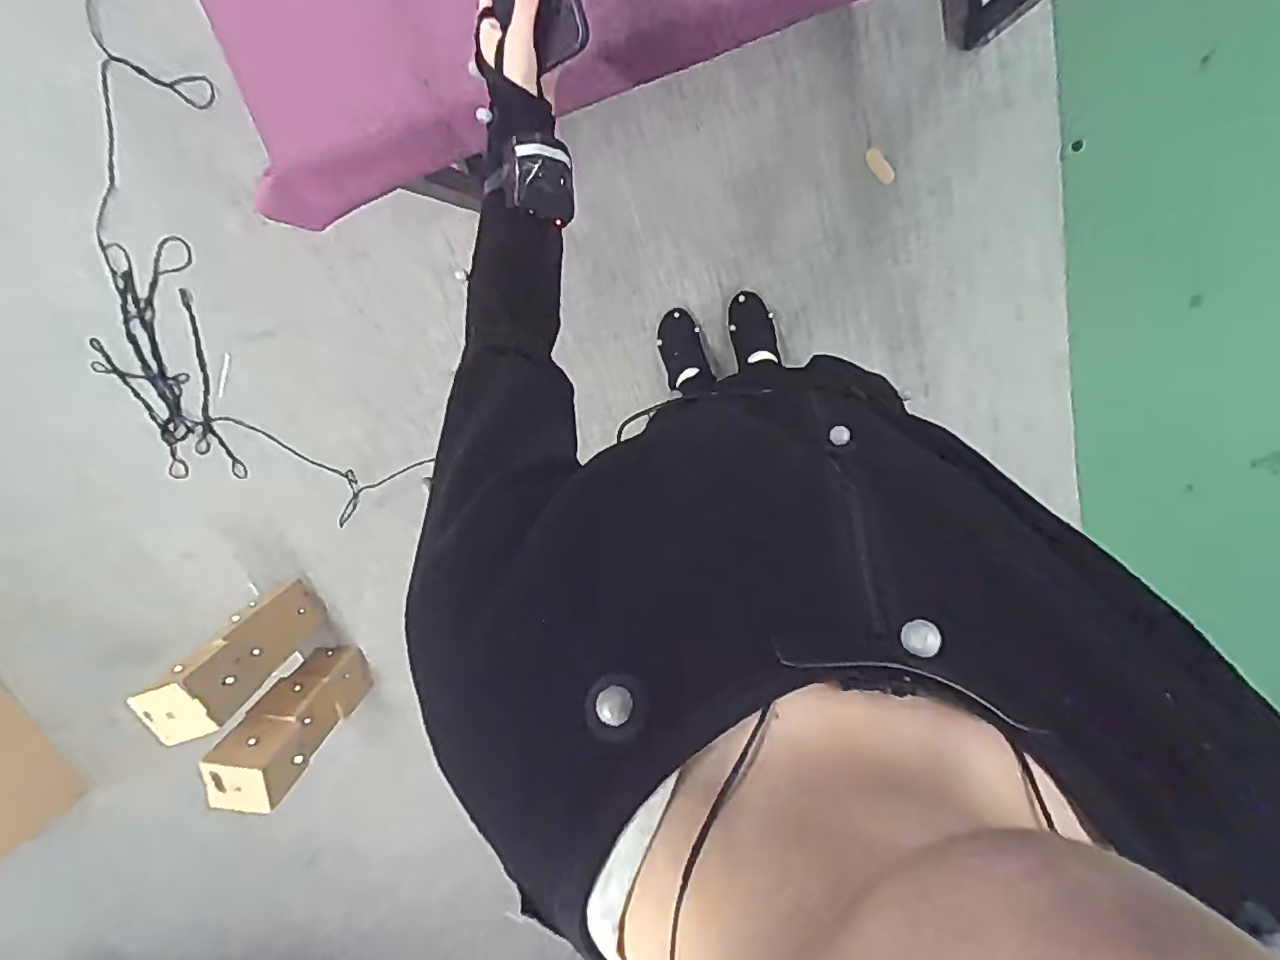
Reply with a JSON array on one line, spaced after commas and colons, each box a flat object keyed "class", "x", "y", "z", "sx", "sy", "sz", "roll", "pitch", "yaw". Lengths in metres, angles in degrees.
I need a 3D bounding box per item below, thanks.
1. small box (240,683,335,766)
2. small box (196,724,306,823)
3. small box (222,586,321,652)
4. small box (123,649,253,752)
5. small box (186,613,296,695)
[{"class": "small box", "x": -1.070, "y": 0.755, "z": 1.660, "sx": 0.168, "sy": 0.176, "sz": 0.179, "roll": 1, "pitch": 109, "yaw": 5}, {"class": "small box", "x": -1.075, "y": 0.810, "z": 1.506, "sx": 0.179, "sy": 0.176, "sz": 0.168, "roll": 6, "pitch": 109, "yaw": 2}, {"class": "small box", "x": -1.167, "y": 0.466, "z": 1.735, "sx": 0.179, "sy": 0.176, "sz": 0.168, "roll": -22, "pitch": 106, "yaw": 12}, {"class": "small box", "x": -1.173, "y": 0.575, "z": 1.427, "sx": 0.179, "sy": 0.176, "sz": 0.168, "roll": -19, "pitch": 107, "yaw": 9}, {"class": "small box", "x": -1.165, "y": 0.524, "z": 1.582, "sx": 0.168, "sy": 0.176, "sz": 0.179, "roll": -27, "pitch": 106, "yaw": 12}]
